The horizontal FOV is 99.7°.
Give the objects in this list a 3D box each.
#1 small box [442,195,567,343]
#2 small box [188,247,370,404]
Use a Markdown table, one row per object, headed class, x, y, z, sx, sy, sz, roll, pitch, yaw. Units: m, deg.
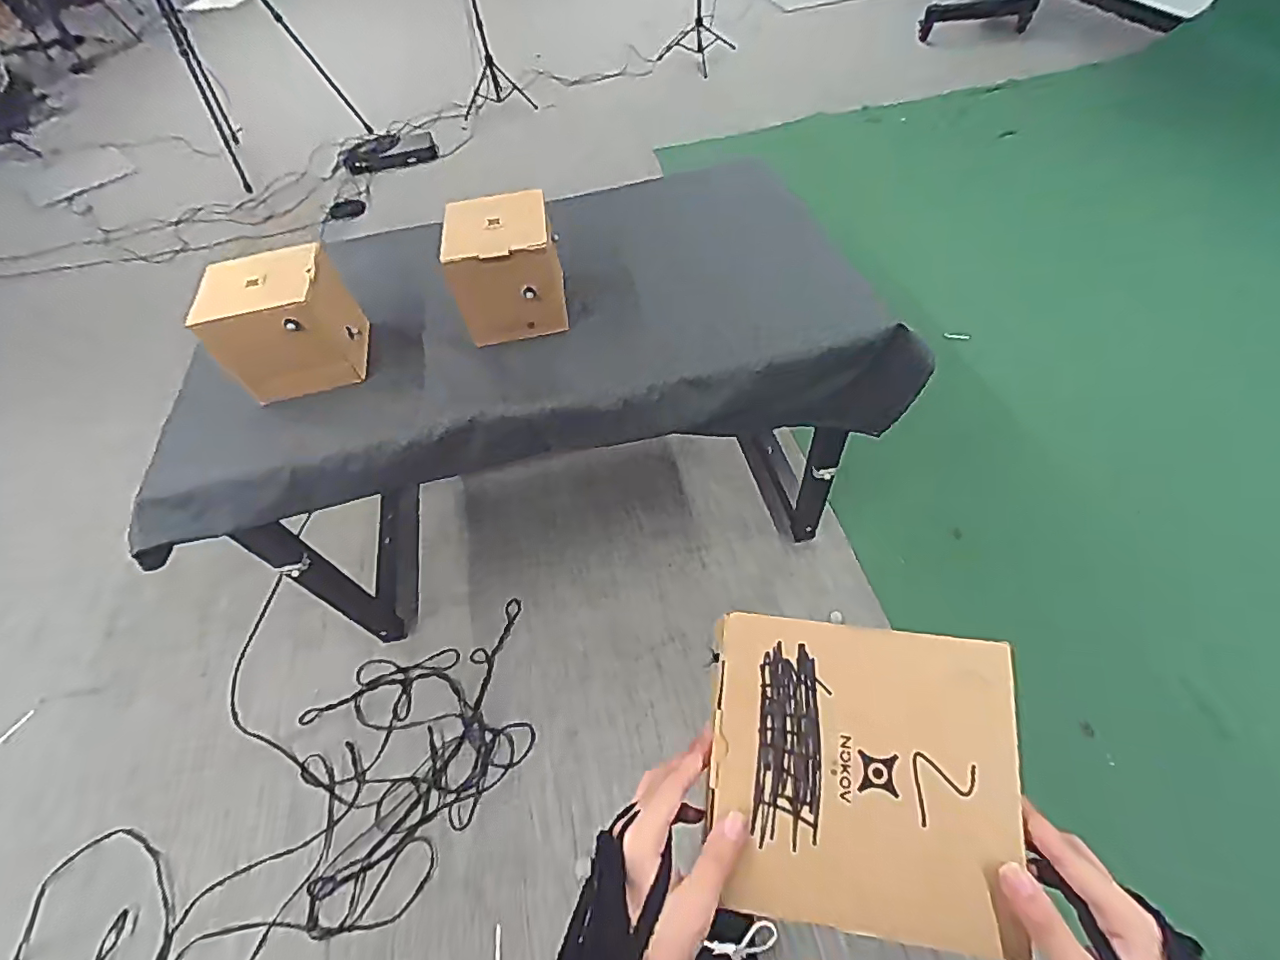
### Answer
| class | x | y | z | sx | sy | sz | roll | pitch | yaw |
| --- | --- | --- | --- | --- | --- | --- | --- | --- | --- |
| small box | -0.223 | -0.352 | 0.923 | 0.168 | 0.176 | 0.179 | -10 | 53 | -2 |
| small box | -0.574 | -0.247 | 0.887 | 0.179 | 0.176 | 0.168 | -14 | 54 | -5 |
